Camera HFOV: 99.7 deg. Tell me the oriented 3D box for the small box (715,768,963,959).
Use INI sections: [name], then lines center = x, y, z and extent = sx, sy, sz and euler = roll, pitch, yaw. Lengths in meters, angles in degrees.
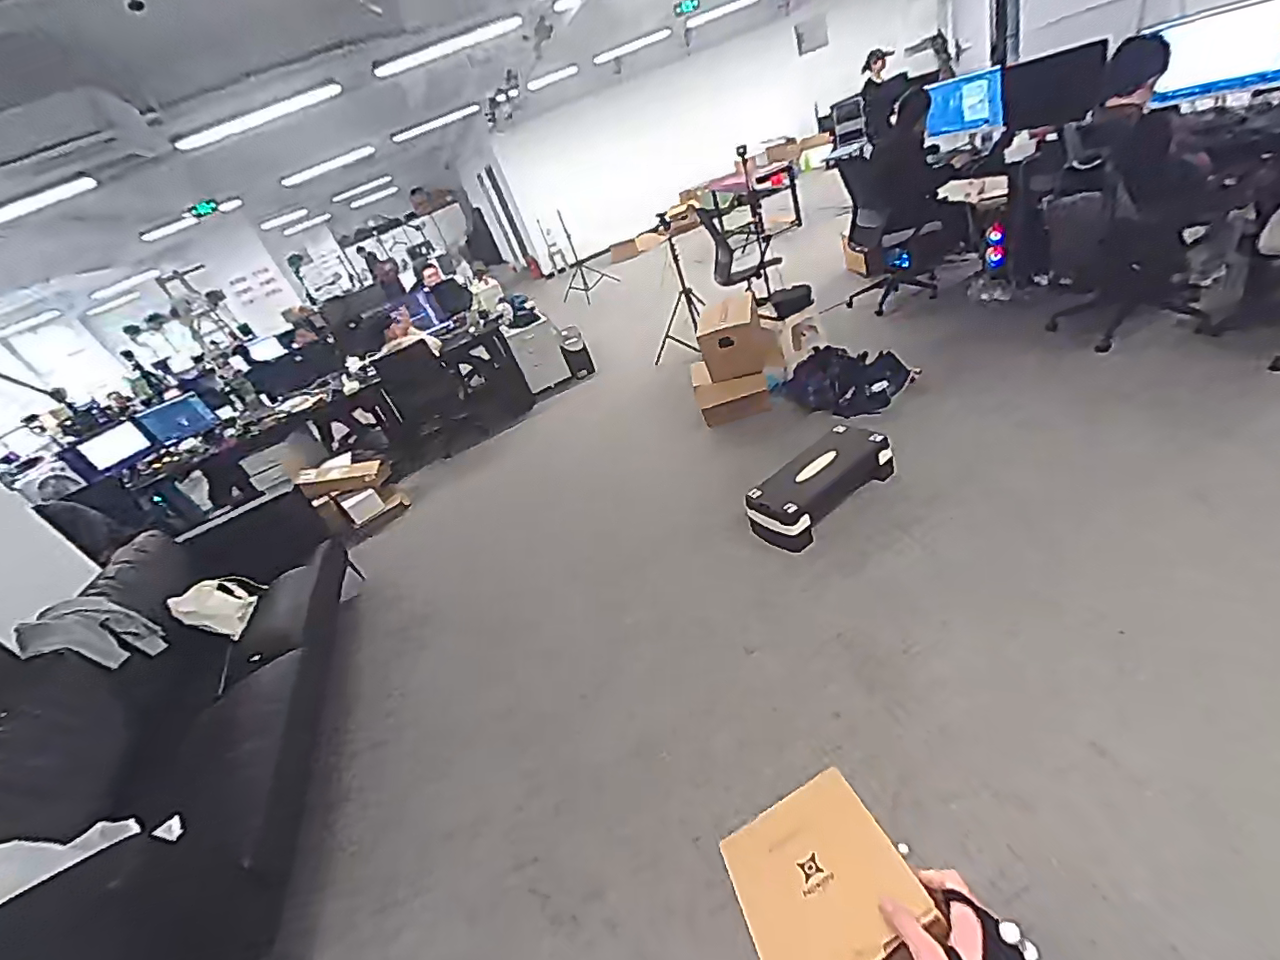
[small box]
center = 0.209, 0.459, 0.563
extent = 0.168, 0.176, 0.179
euler = -33, 15, -2
